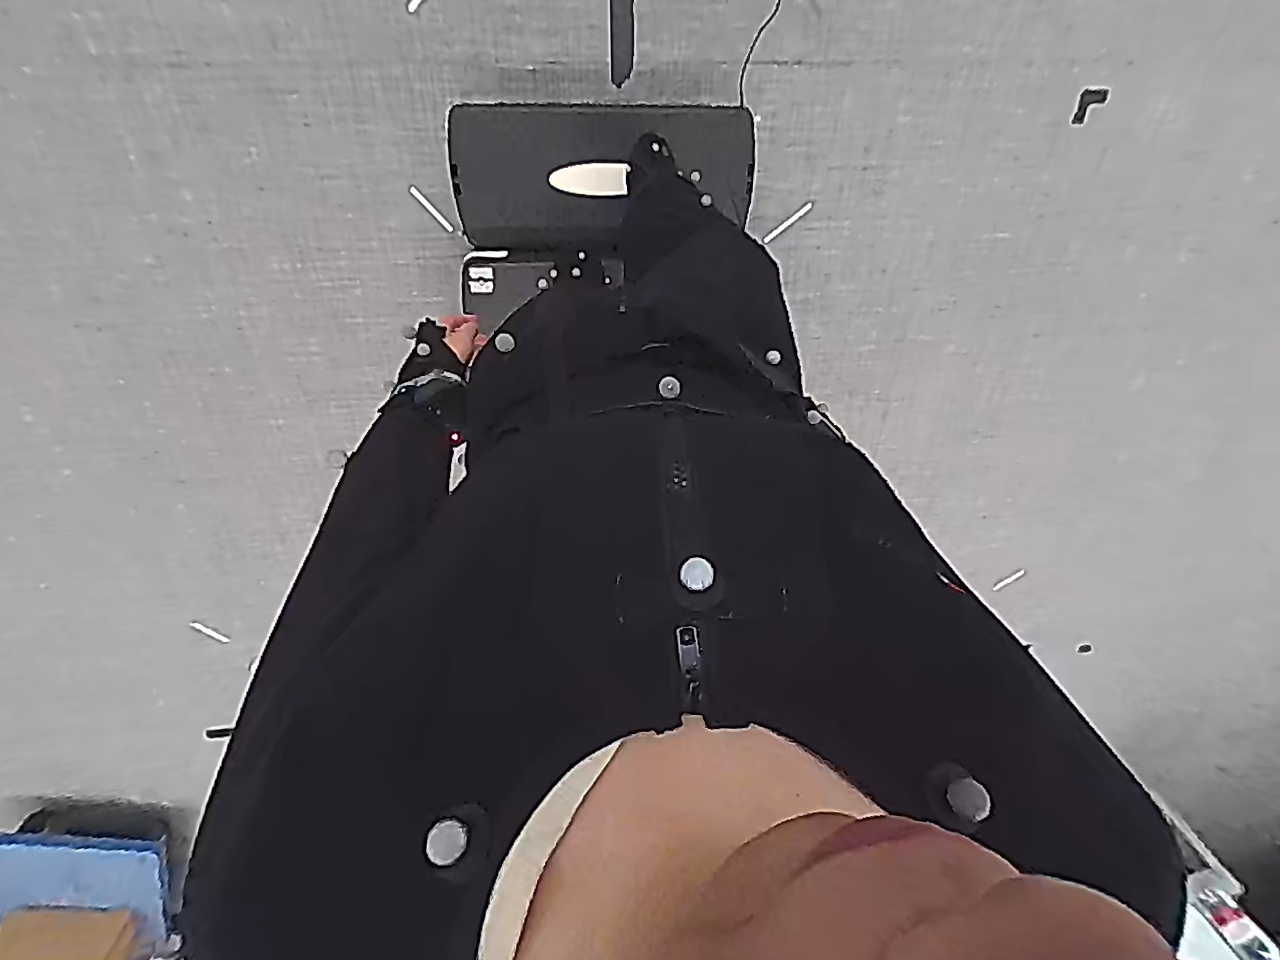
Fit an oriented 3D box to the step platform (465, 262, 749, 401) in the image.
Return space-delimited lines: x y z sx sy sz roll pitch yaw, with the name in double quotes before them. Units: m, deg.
"step platform" -0.077 -0.362 1.343 0.684 0.204 0.286 1 118 -6
